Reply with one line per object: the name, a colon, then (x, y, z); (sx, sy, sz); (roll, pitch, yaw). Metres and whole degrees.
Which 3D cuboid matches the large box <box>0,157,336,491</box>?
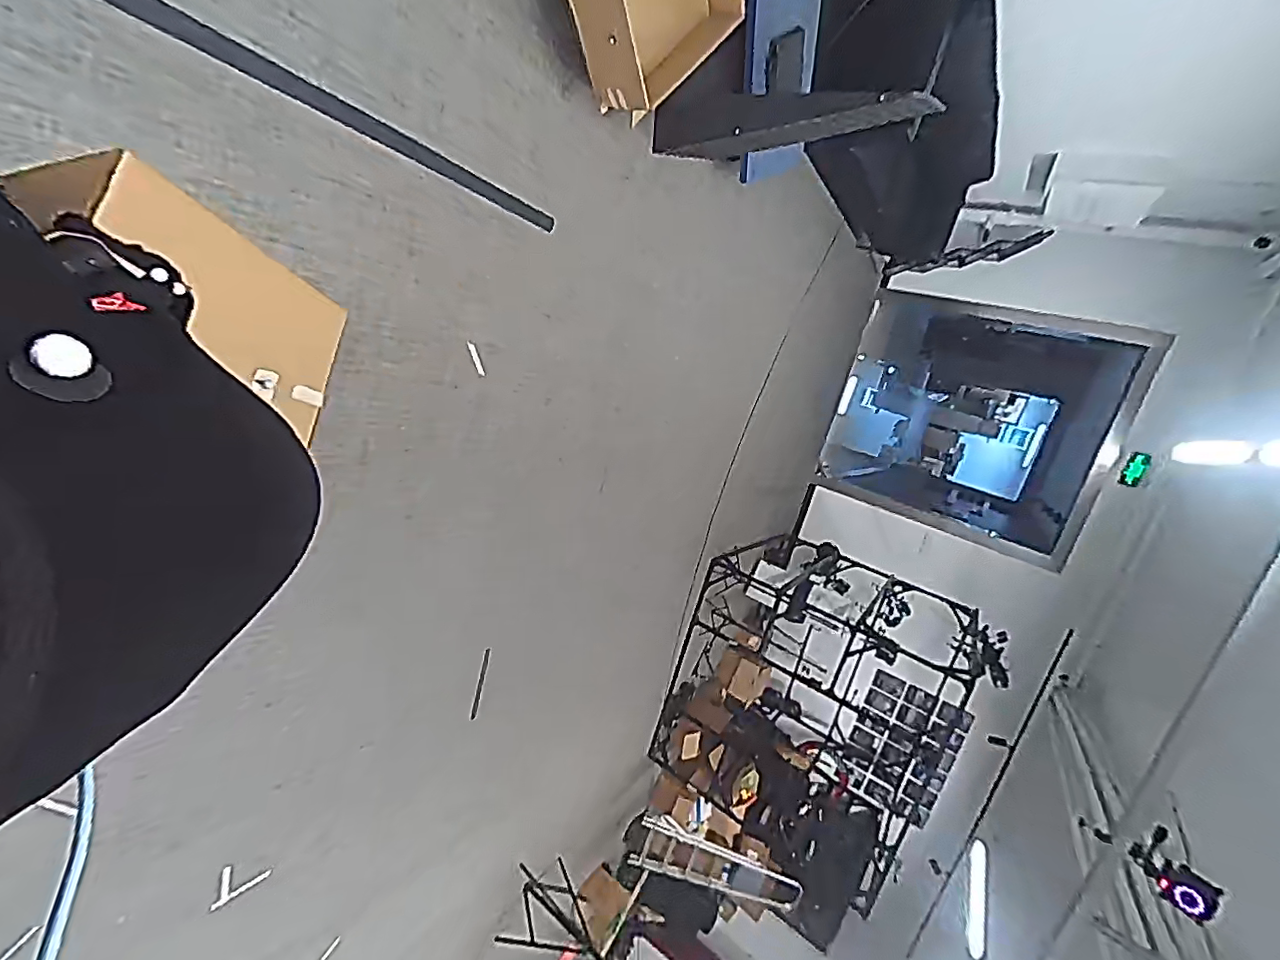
large box: (-0.722, -0.170, 0.750); (0.320, 0.408, 0.320); (42, 52, -65)
